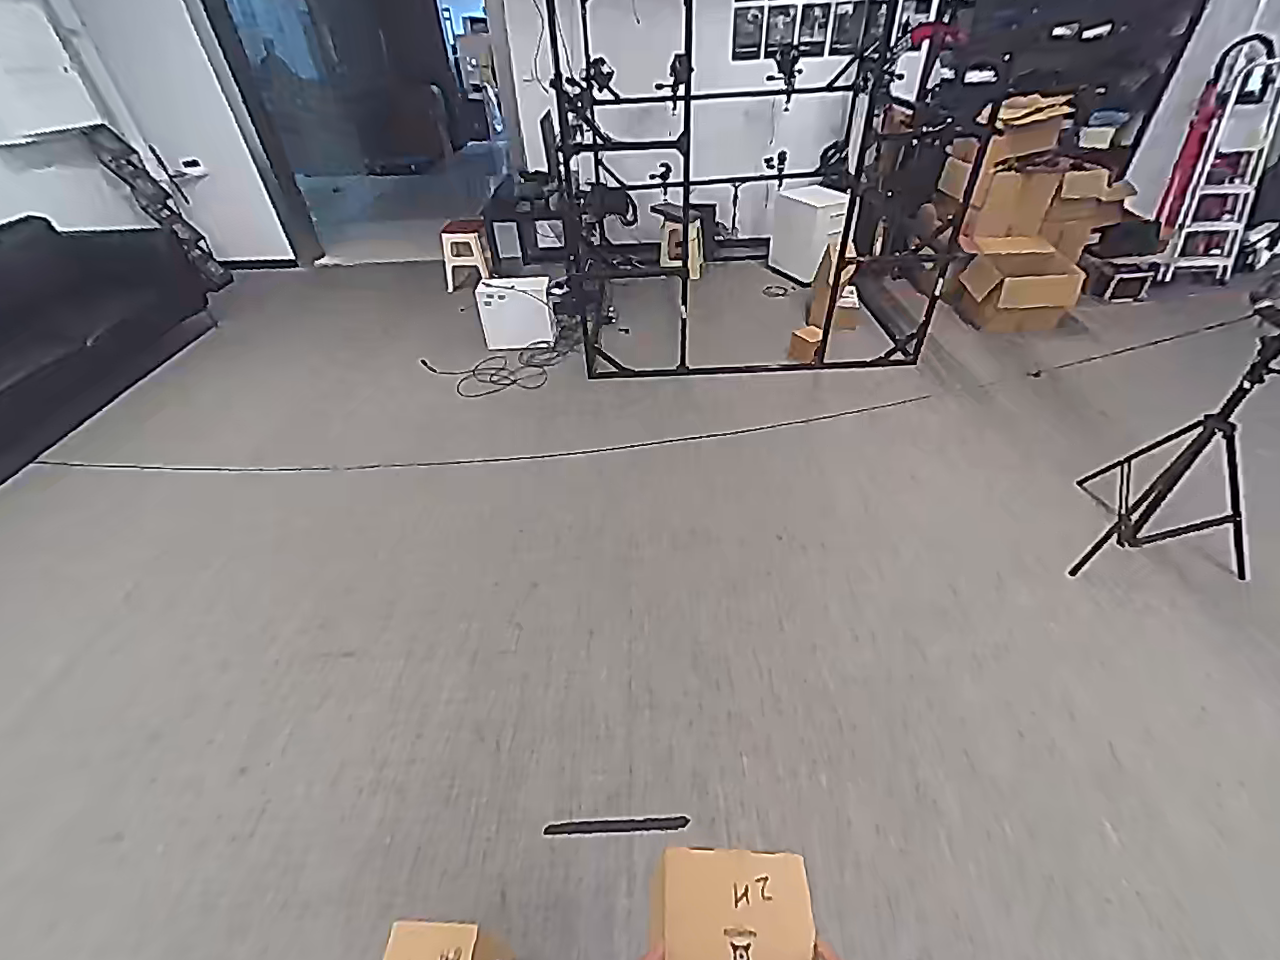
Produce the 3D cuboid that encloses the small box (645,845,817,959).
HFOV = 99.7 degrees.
[{"bbox_3d":[0.096,0.545,0.617,0.168,0.176,0.179,6,42,-3],"label":"small box"}]

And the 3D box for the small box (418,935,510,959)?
[{"bbox_3d":[-0.386,1.105,1.157,0.168,0.176,0.179,-2,39,3],"label":"small box"}]
